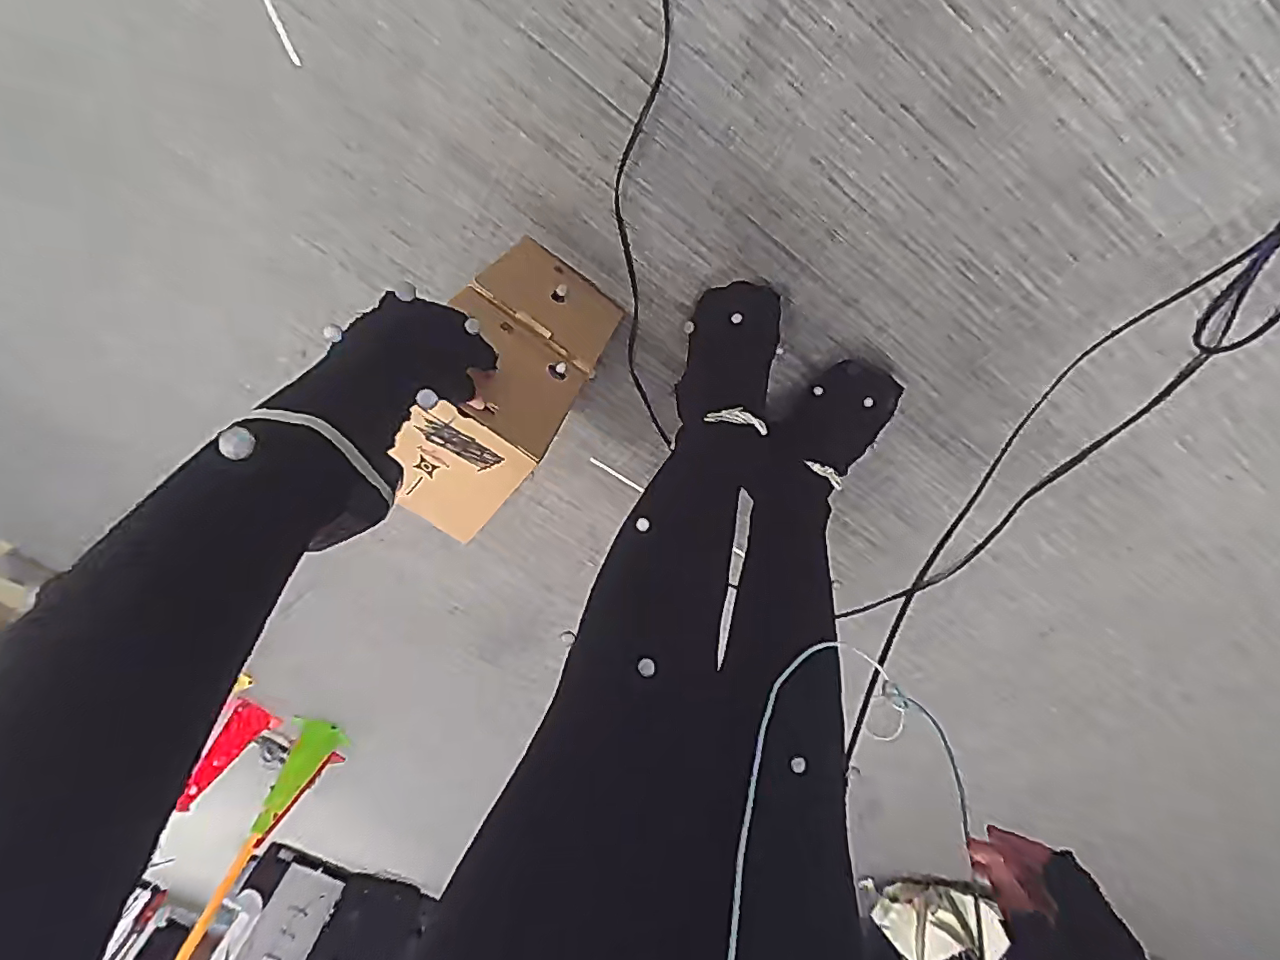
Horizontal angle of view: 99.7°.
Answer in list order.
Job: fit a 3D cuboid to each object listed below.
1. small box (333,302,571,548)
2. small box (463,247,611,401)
[{"bbox_3d":[-0.196,-0.063,0.603,0.168,0.176,0.179,37,130,-16],"label":"small box"},{"bbox_3d":[-0.155,-0.173,0.719,0.168,0.176,0.179,36,129,-15],"label":"small box"}]
